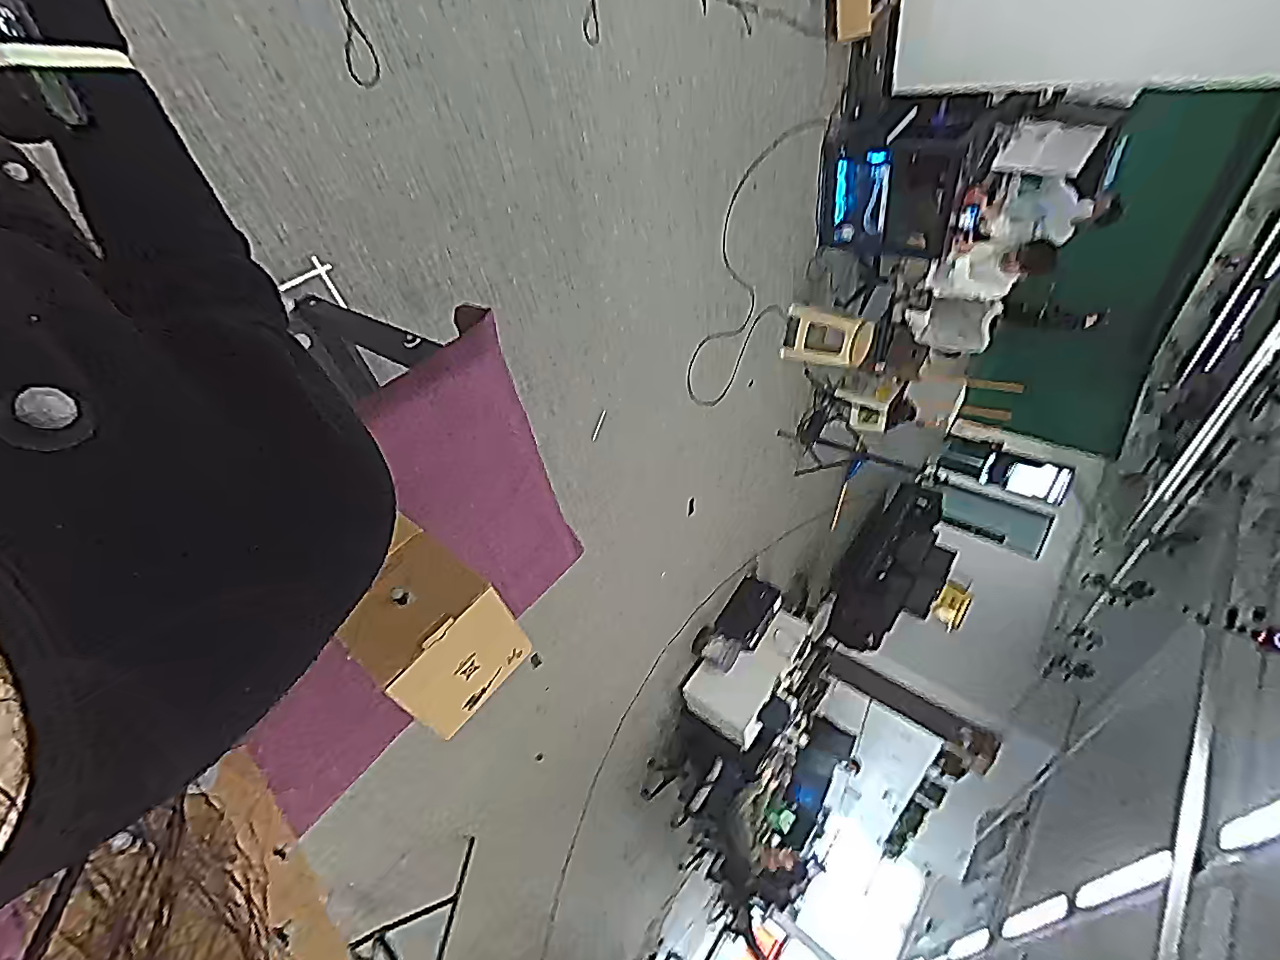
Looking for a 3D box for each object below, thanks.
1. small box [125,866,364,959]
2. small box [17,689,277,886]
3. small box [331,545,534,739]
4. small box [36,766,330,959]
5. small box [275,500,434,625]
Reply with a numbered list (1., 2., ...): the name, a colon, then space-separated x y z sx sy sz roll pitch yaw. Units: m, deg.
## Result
1. small box: -0.377 0.502 0.498 0.168 0.176 0.179 -44 142 -29
2. small box: -0.621 0.399 0.690 0.168 0.176 0.179 -42 141 -32
3. small box: -0.282 0.212 0.748 0.168 0.176 0.179 -45 142 -28
4. small box: -0.497 0.461 0.602 0.168 0.176 0.179 -43 140 -32
5. small box: -0.410 0.151 0.831 0.168 0.176 0.179 -43 142 -30
